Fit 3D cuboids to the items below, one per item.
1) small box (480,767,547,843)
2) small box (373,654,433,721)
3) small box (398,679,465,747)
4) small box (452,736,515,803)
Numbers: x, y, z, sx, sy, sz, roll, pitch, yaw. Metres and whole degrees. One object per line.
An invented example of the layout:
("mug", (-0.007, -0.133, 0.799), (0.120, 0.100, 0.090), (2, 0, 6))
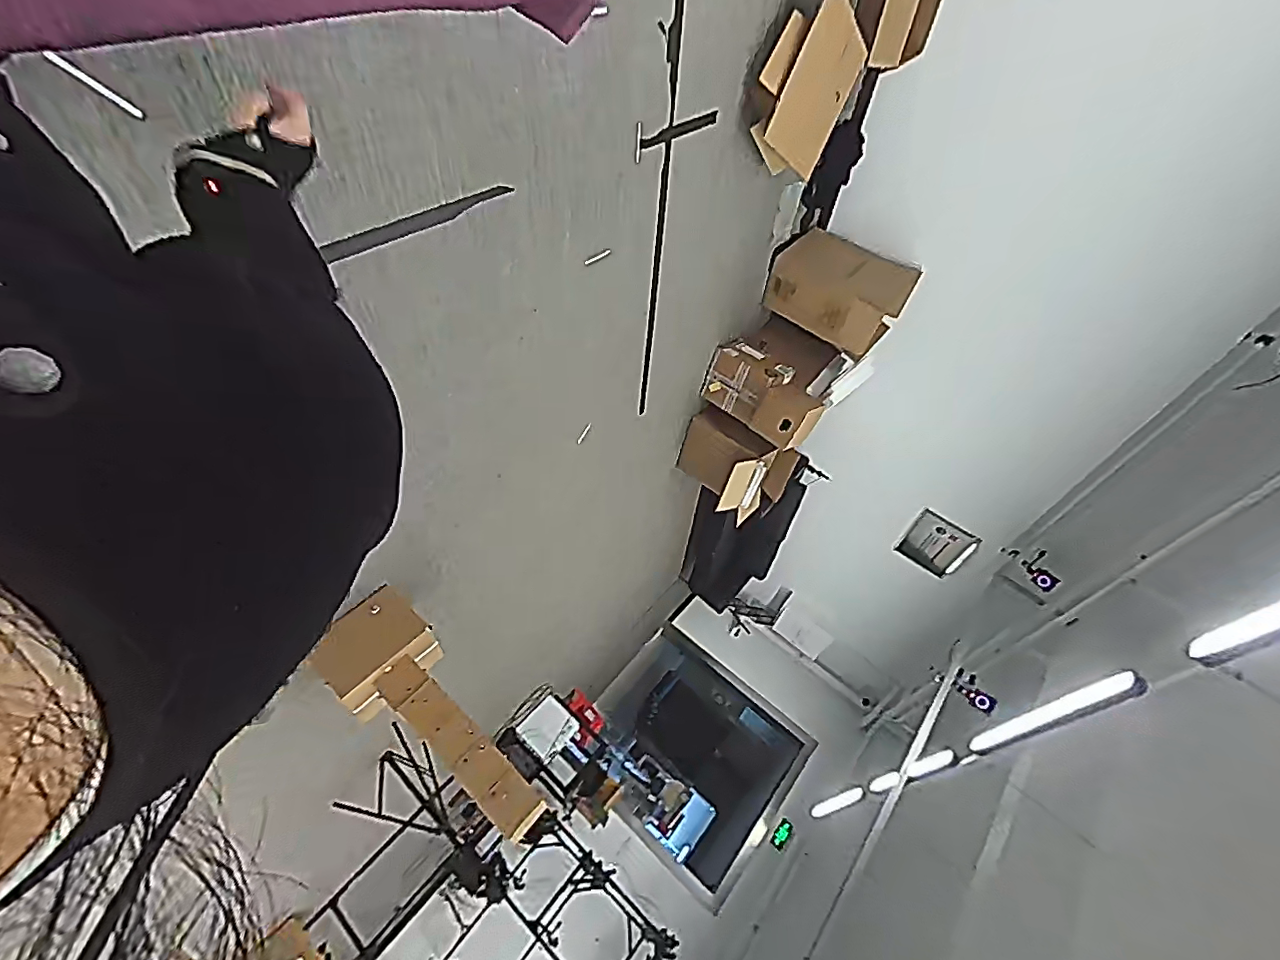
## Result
("small box", (-0.465, 1.195, 1.993), (0.168, 0.176, 0.179), (-42, 154, -30))
("small box", (-0.966, 0.858, 2.247), (0.179, 0.176, 0.168), (-41, 153, -29))
("small box", (-0.840, 0.937, 2.183), (0.168, 0.176, 0.179), (-42, 153, -30))
("small box", (-0.590, 1.109, 2.057), (0.168, 0.176, 0.179), (-40, 154, -32))
